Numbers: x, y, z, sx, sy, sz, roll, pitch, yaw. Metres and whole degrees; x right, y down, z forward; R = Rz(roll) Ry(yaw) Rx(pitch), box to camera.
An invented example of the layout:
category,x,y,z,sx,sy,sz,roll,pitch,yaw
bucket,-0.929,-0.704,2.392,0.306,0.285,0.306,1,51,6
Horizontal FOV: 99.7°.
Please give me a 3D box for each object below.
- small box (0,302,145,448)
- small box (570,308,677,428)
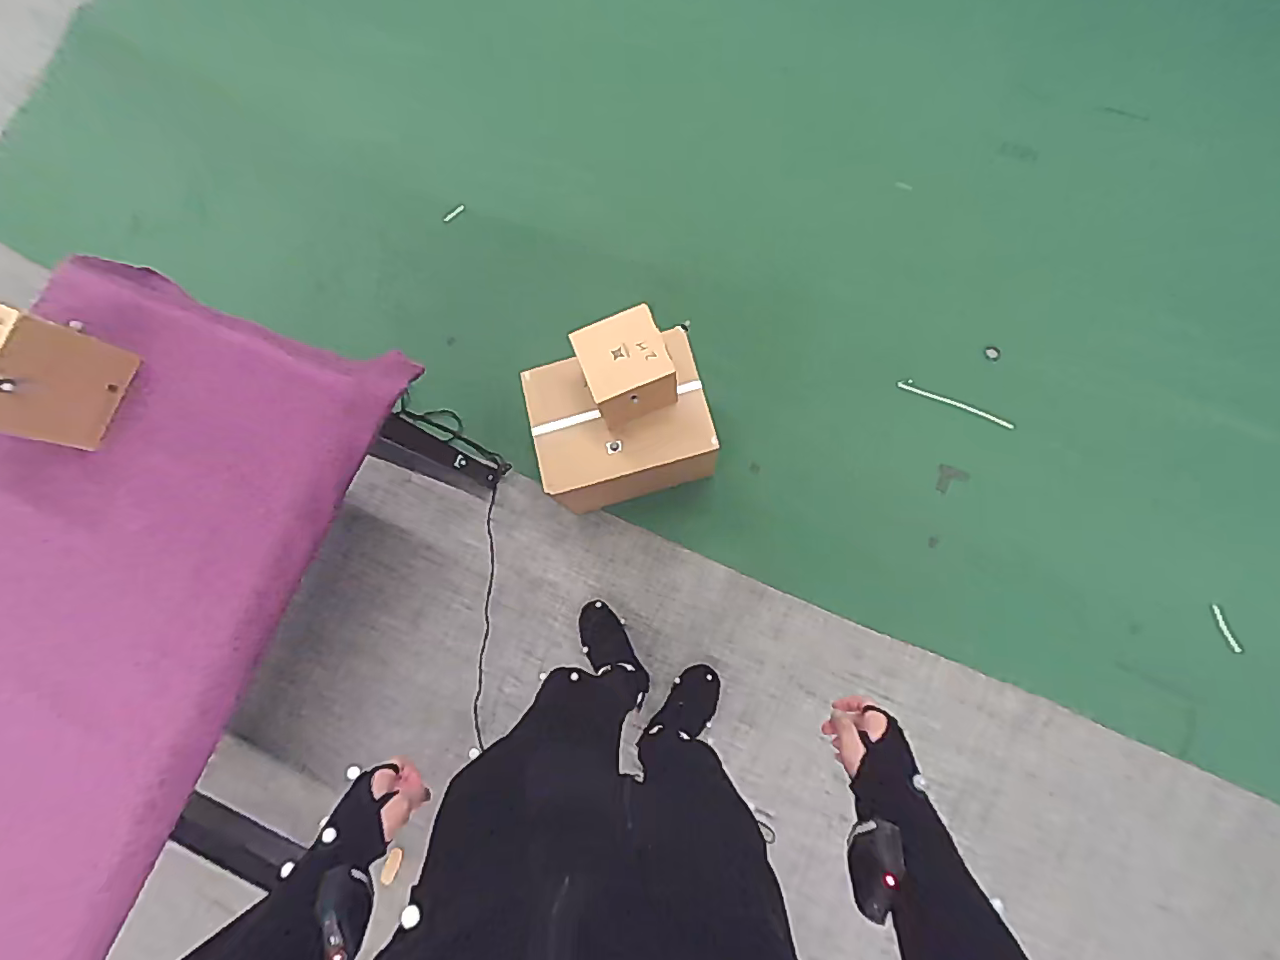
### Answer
category,x,y,z,sx,sy,sz,roll,pitch,yaw
small box,-0.916,-0.161,0.803,0.179,0.176,0.168,21,83,8
small box,-0.028,-0.231,1.164,0.179,0.176,0.168,-22,77,0
